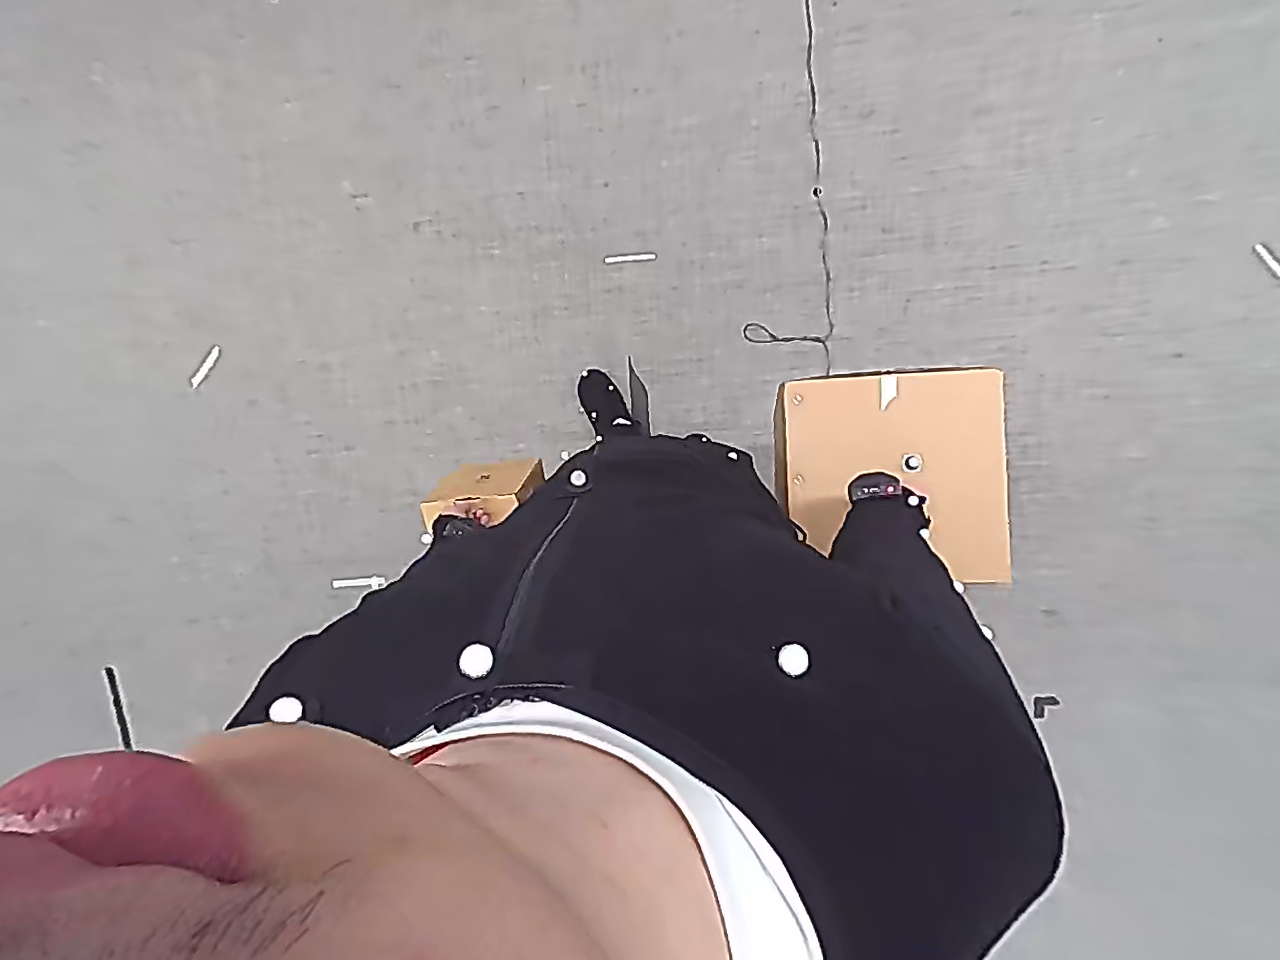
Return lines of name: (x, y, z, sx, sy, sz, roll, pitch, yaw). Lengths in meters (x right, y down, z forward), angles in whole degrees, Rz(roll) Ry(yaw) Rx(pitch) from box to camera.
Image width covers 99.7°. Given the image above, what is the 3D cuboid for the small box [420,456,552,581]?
small box: (-0.265, 0.072, 0.982, 0.168, 0.179, 0.176, -5, 114, 6)
